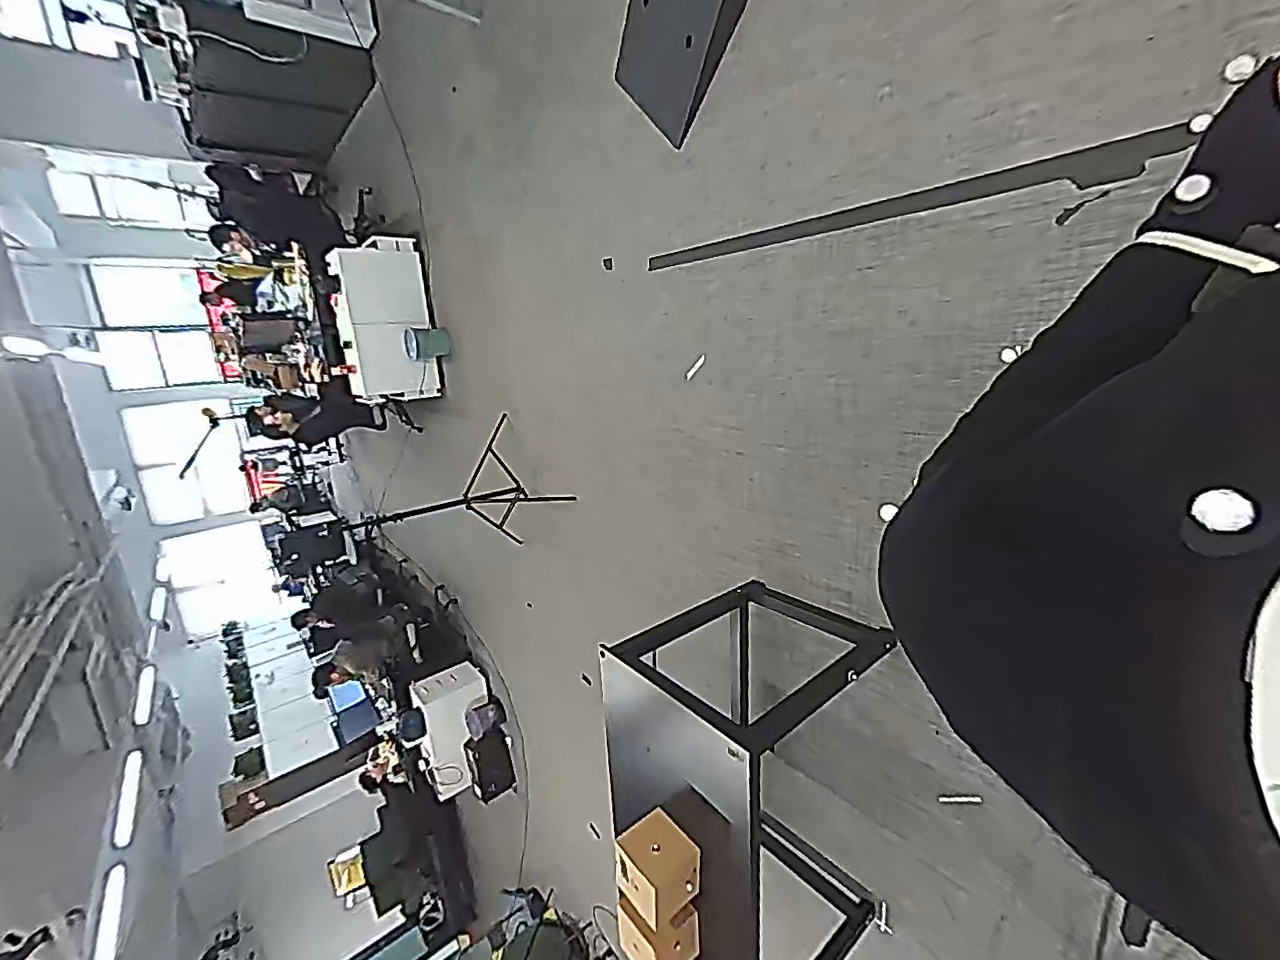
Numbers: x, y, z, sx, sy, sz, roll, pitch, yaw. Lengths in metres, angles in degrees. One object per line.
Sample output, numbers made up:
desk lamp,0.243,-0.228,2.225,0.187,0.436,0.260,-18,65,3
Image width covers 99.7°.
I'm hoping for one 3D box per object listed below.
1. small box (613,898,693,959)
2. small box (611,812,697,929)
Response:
small box,0.043,1.309,1.582,0.179,0.176,0.168,14,112,50
small box,0.036,1.071,1.506,0.179,0.176,0.168,20,117,47
